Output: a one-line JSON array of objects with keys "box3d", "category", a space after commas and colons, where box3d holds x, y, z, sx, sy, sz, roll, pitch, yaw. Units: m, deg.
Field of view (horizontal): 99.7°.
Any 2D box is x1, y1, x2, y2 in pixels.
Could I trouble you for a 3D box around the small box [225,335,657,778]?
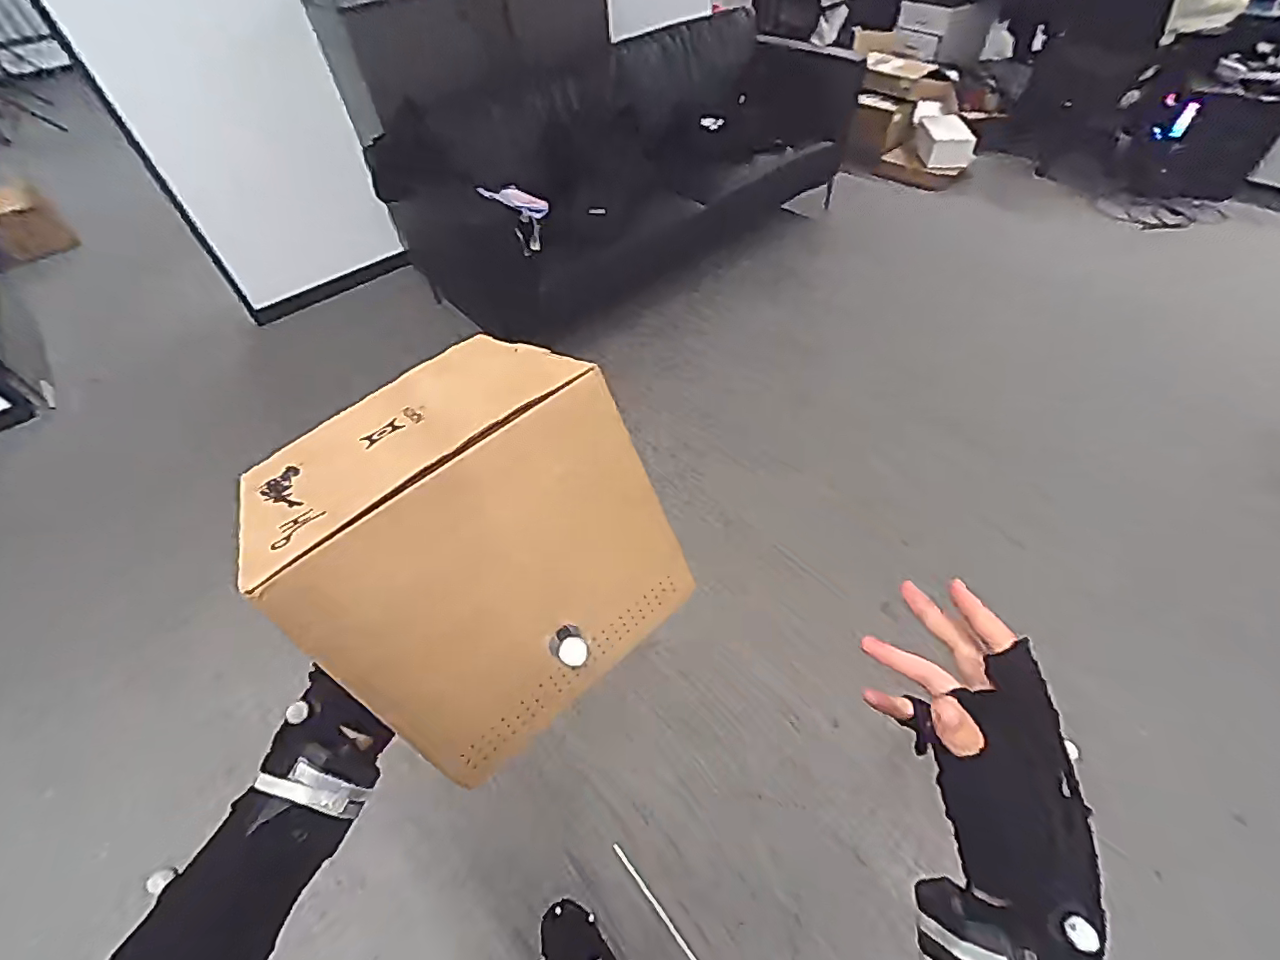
[{"box3d": [-0.108, 0.032, 0.335, 0.179, 0.176, 0.168, -37, 34, -21], "category": "small box"}]
